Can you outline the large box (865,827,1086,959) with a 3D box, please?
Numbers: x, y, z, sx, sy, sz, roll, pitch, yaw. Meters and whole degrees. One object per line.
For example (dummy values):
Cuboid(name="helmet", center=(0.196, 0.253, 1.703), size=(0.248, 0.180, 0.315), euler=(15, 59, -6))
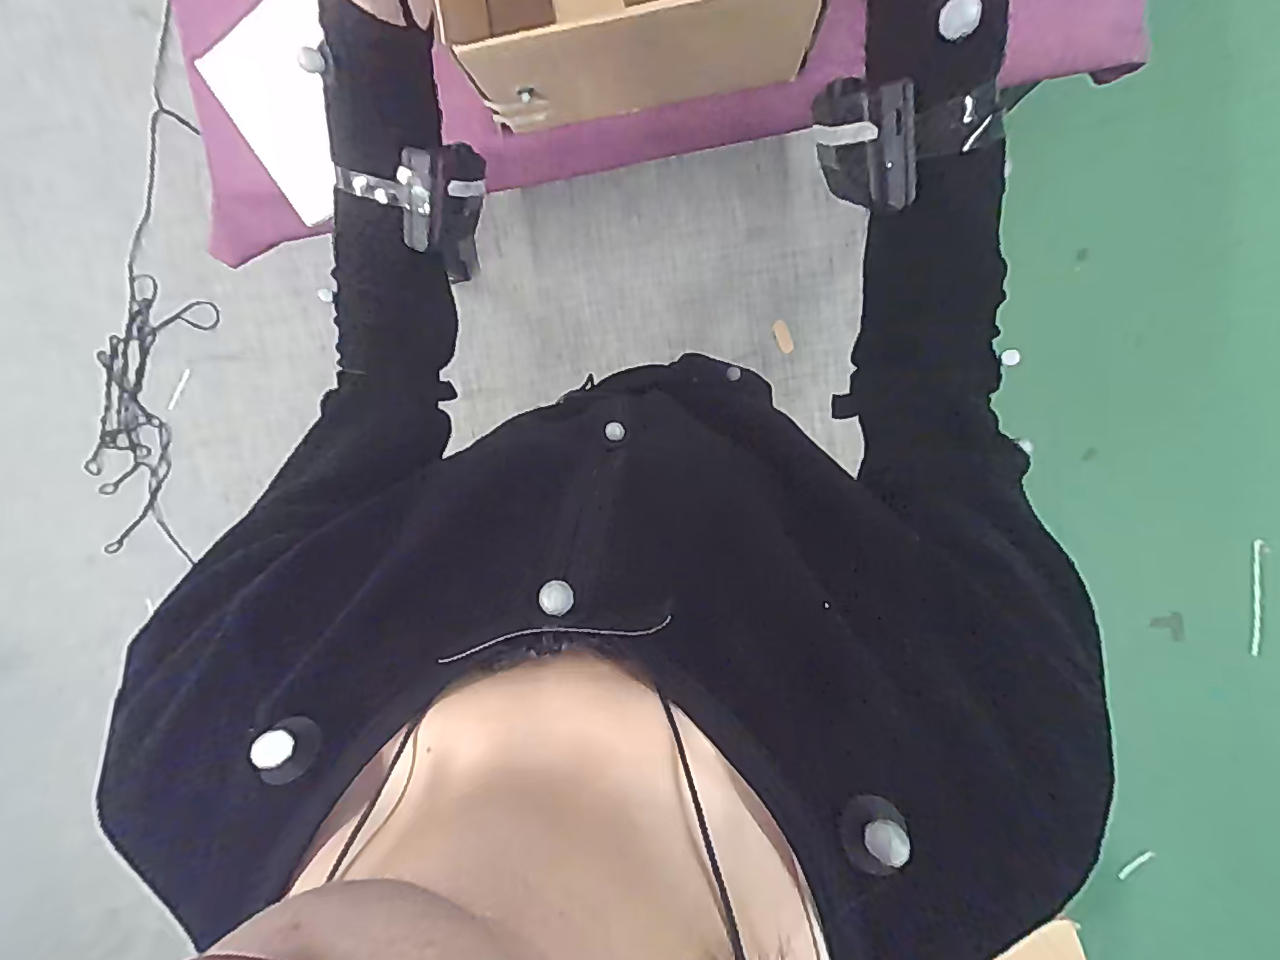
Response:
Cuboid(name="large box", center=(0.886, 1.216, 1.434), size=(0.408, 0.320, 0.320), euler=(-22, 96, 7))
